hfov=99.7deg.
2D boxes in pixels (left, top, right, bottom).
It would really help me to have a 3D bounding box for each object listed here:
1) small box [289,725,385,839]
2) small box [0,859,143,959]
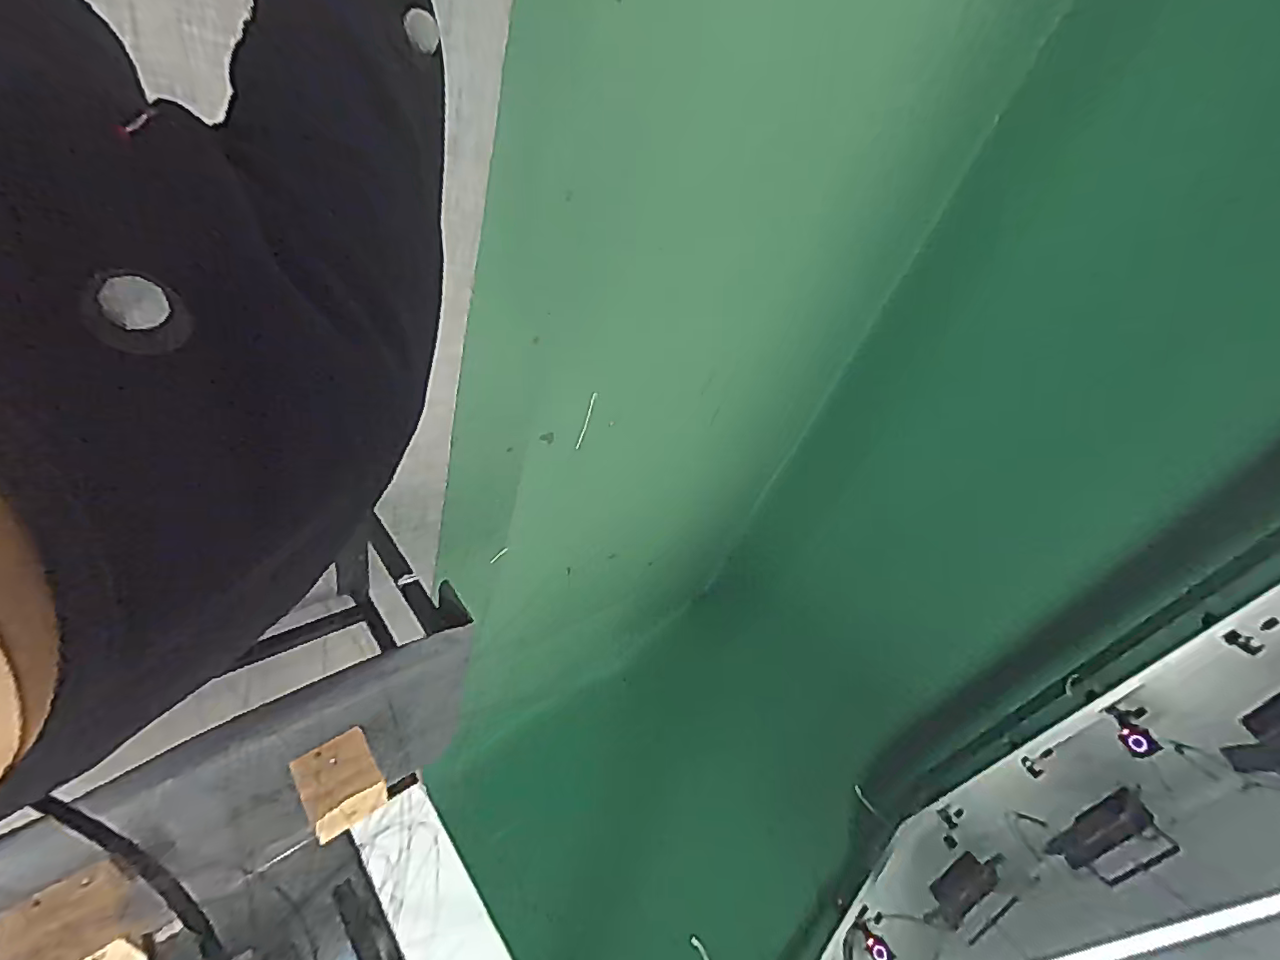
[{"bbox_3d":[-0.779,0.773,1.396,0.168,0.176,0.179,-23,145,-38],"label":"small box"},{"bbox_3d":[-1.134,0.902,1.074,0.168,0.176,0.179,-19,144,-41],"label":"small box"}]
